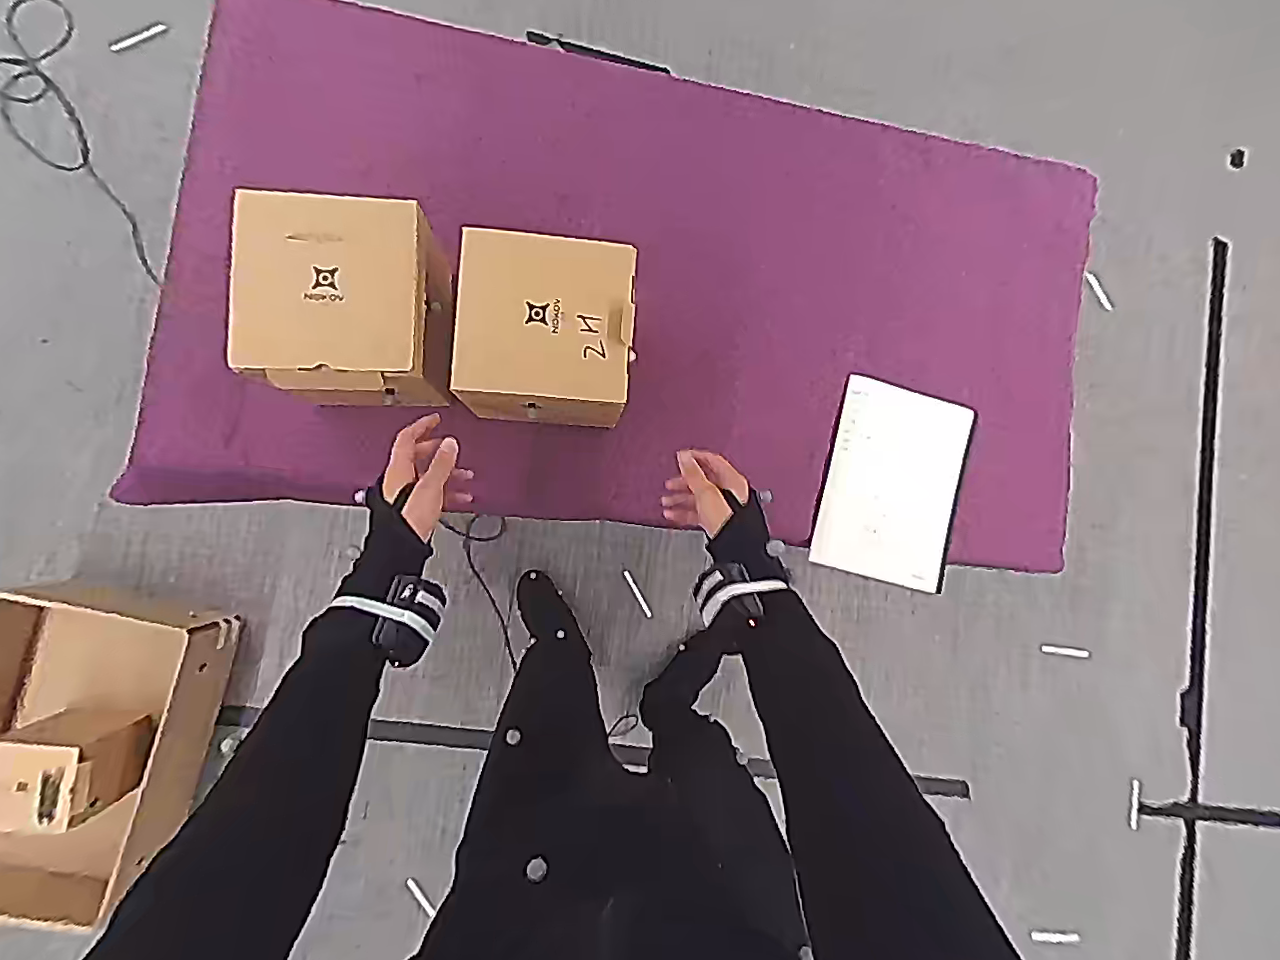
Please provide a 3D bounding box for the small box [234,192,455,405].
[{"bbox_3d":[-0.306,-0.182,0.596,0.168,0.176,0.179,1,87,-8],"label":"small box"}]
